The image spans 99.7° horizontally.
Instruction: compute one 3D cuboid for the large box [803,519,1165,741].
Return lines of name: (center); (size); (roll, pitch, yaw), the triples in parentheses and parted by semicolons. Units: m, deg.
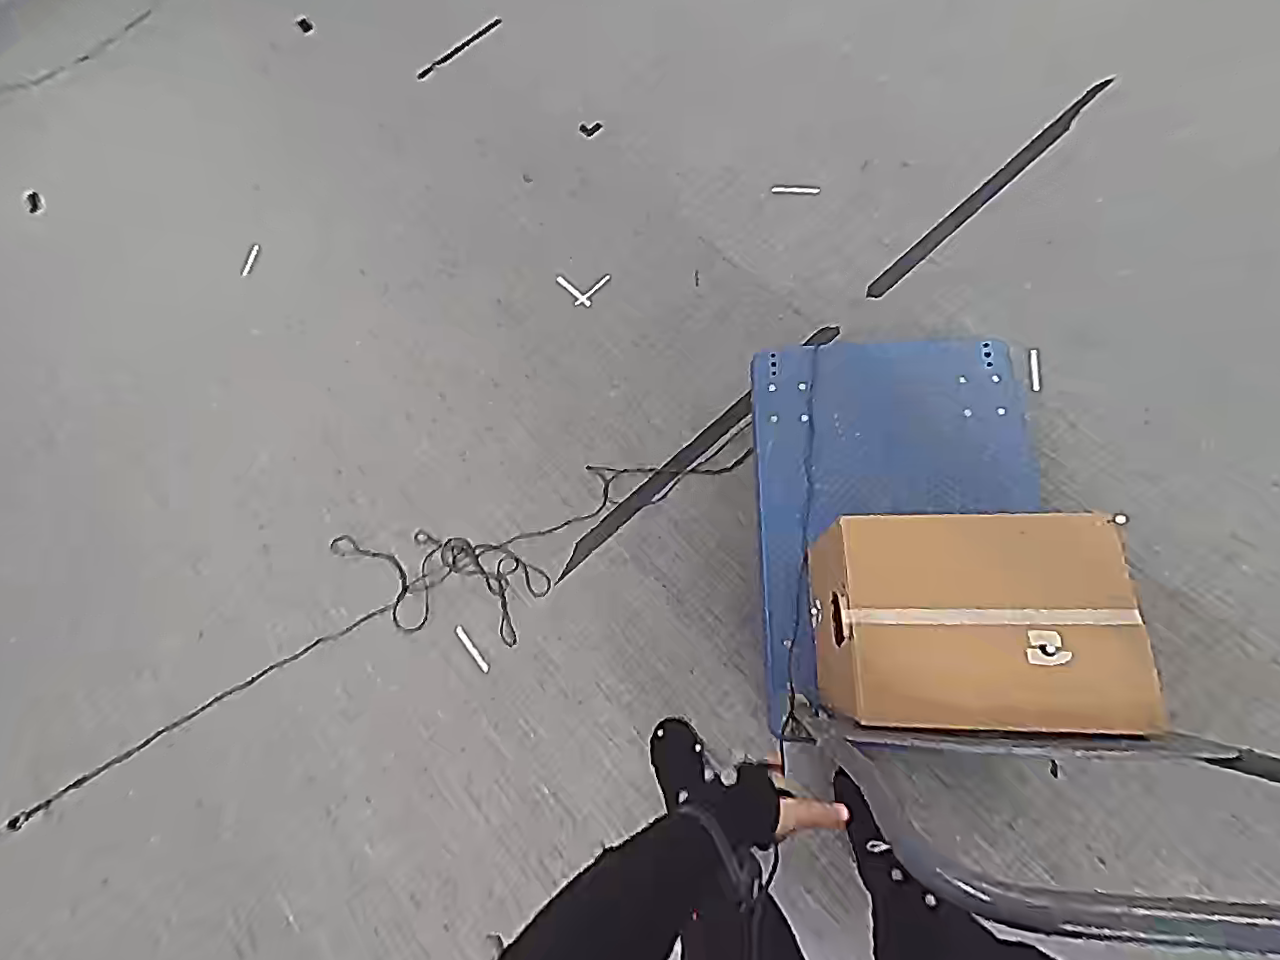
large box: (0.525, 0.258, 0.932); (0.408, 0.320, 0.320); (-1, 73, 6)
